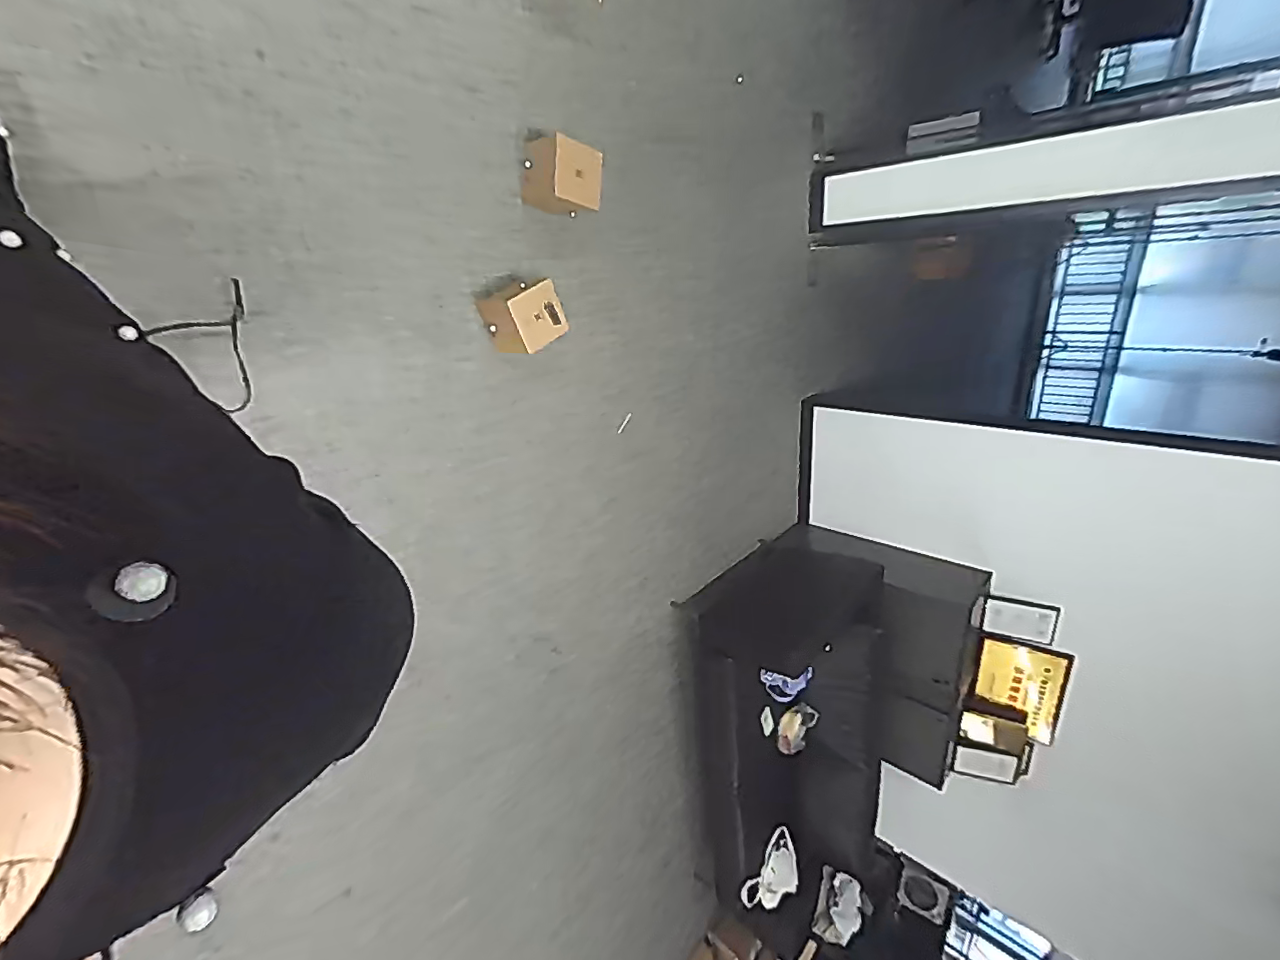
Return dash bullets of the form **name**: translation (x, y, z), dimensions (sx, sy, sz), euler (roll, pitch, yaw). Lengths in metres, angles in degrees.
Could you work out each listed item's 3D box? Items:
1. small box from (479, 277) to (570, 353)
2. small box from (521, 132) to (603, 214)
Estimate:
- **small box**: translation (-0.349, -0.501, 1.638), dimensions (0.179, 0.176, 0.168), euler (-44, 130, -30)
- **small box**: translation (-0.235, -0.919, 1.636), dimensions (0.179, 0.176, 0.168), euler (-8, 107, -46)
